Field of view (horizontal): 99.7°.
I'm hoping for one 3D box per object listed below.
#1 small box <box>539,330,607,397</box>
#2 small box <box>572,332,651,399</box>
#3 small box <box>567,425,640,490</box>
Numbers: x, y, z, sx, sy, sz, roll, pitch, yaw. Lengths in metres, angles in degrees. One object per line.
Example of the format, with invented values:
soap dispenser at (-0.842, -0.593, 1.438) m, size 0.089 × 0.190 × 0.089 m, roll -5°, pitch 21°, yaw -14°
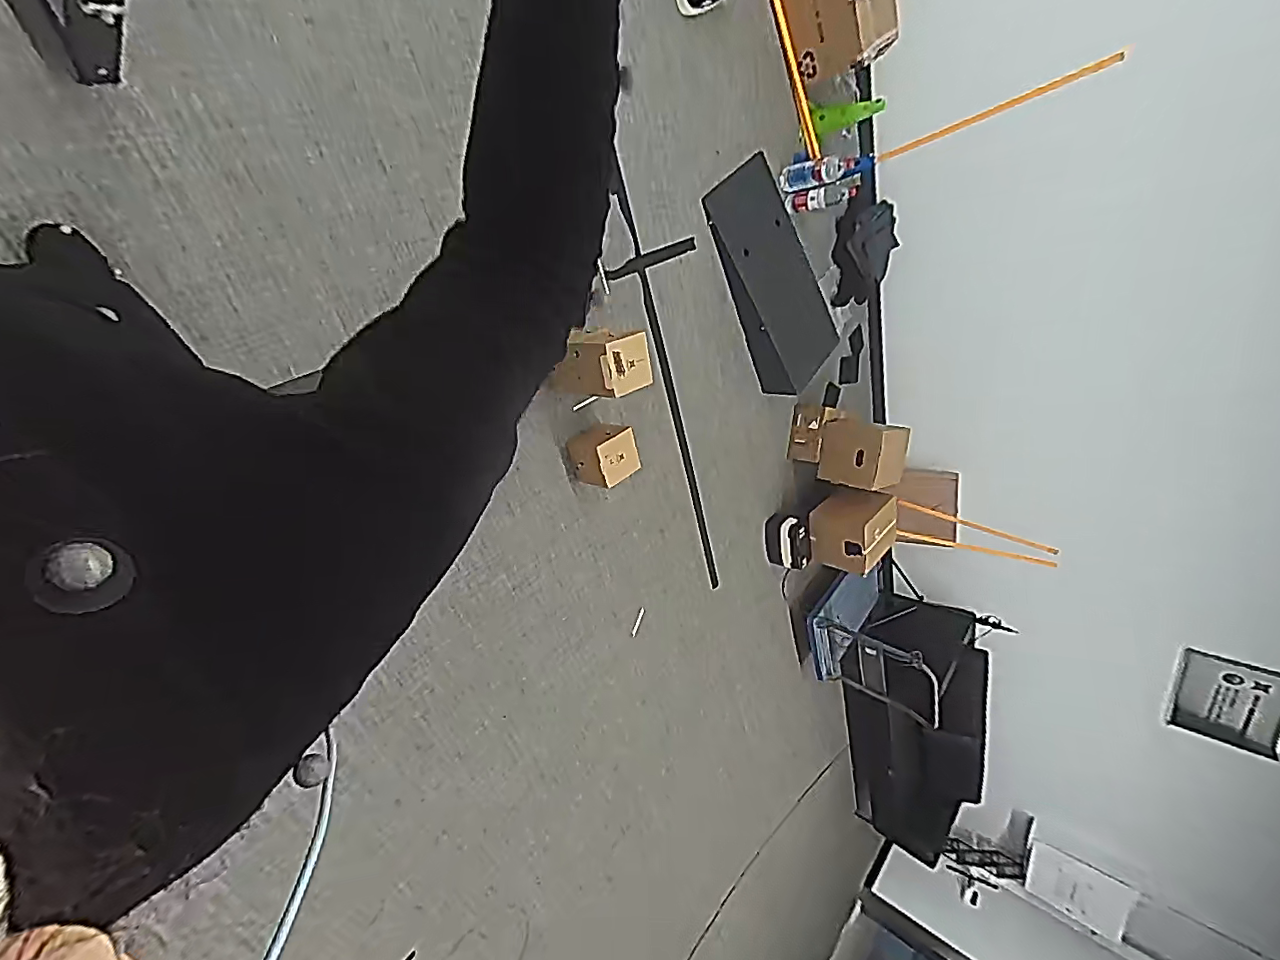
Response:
small box at (-0.207, -0.392, 1.794) m, size 0.168 × 0.176 × 0.179 m, roll -34°, pitch 124°, yaw -36°
small box at (-0.093, -0.358, 1.680) m, size 0.179 × 0.176 × 0.168 m, roll -30°, pitch 120°, yaw -39°
small box at (-0.132, -0.087, 1.946) m, size 0.179 × 0.176 × 0.168 m, roll -34°, pitch 122°, yaw -36°
